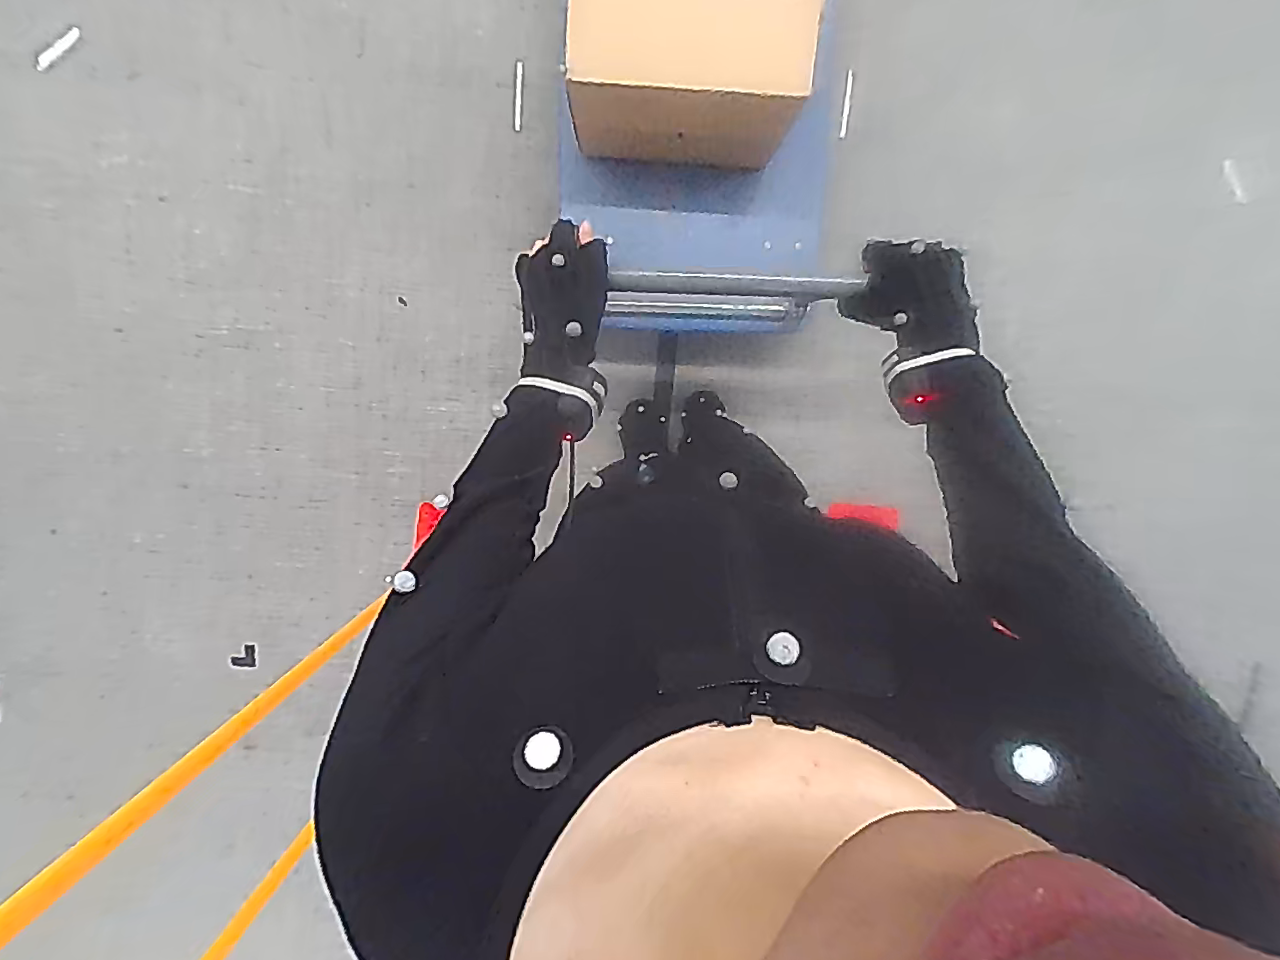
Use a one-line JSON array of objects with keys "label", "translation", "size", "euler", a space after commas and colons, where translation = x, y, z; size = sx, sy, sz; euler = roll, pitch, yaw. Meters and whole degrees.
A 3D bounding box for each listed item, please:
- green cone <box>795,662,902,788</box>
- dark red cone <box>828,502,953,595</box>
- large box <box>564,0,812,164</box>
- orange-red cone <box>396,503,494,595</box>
[{"label": "green cone", "translation": [0.570, 0.664, 1.415], "size": [0.202, 0.368, 0.200], "euler": [7, 100, -3]}, {"label": "dark red cone", "translation": [0.626, 0.191, 1.317], "size": [0.201, 0.394, 0.202], "euler": [4, 100, -3]}, {"label": "large box", "translation": [0.081, -0.814, 1.008], "size": [0.408, 0.320, 0.320], "euler": [3, 100, -1]}, {"label": "orange-red cone", "translation": [-0.509, 0.198, 1.323], "size": [0.198, 0.360, 0.199], "euler": [11, 98, -4]}]
